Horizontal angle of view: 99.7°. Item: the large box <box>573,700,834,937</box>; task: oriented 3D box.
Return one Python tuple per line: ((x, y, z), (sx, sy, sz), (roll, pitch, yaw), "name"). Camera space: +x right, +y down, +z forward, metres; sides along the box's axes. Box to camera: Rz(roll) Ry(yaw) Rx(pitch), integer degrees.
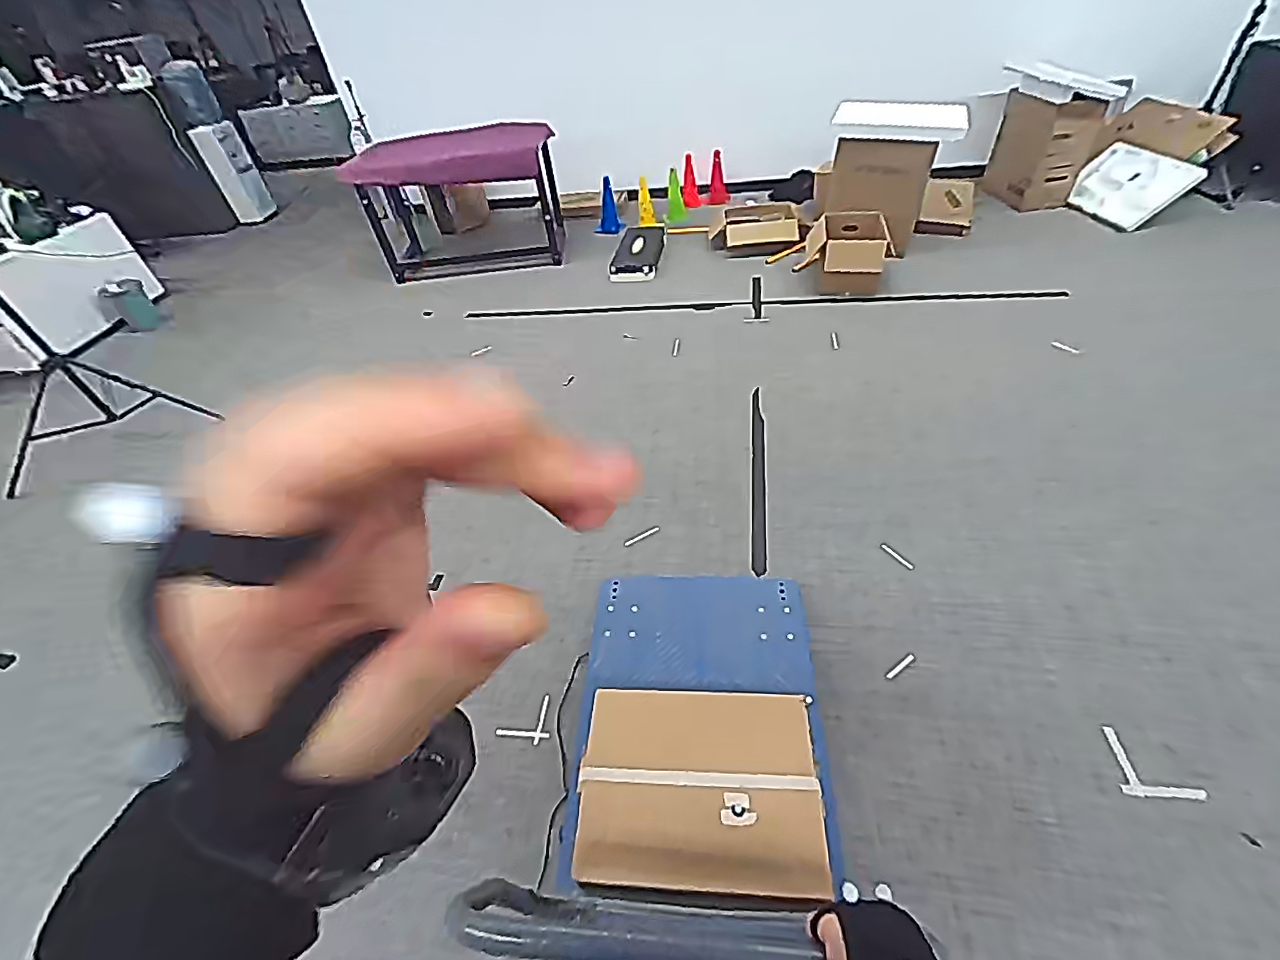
((0.111, 0.637, 1.023), (0.408, 0.320, 0.320), (-1, 45, 6), "large box")
